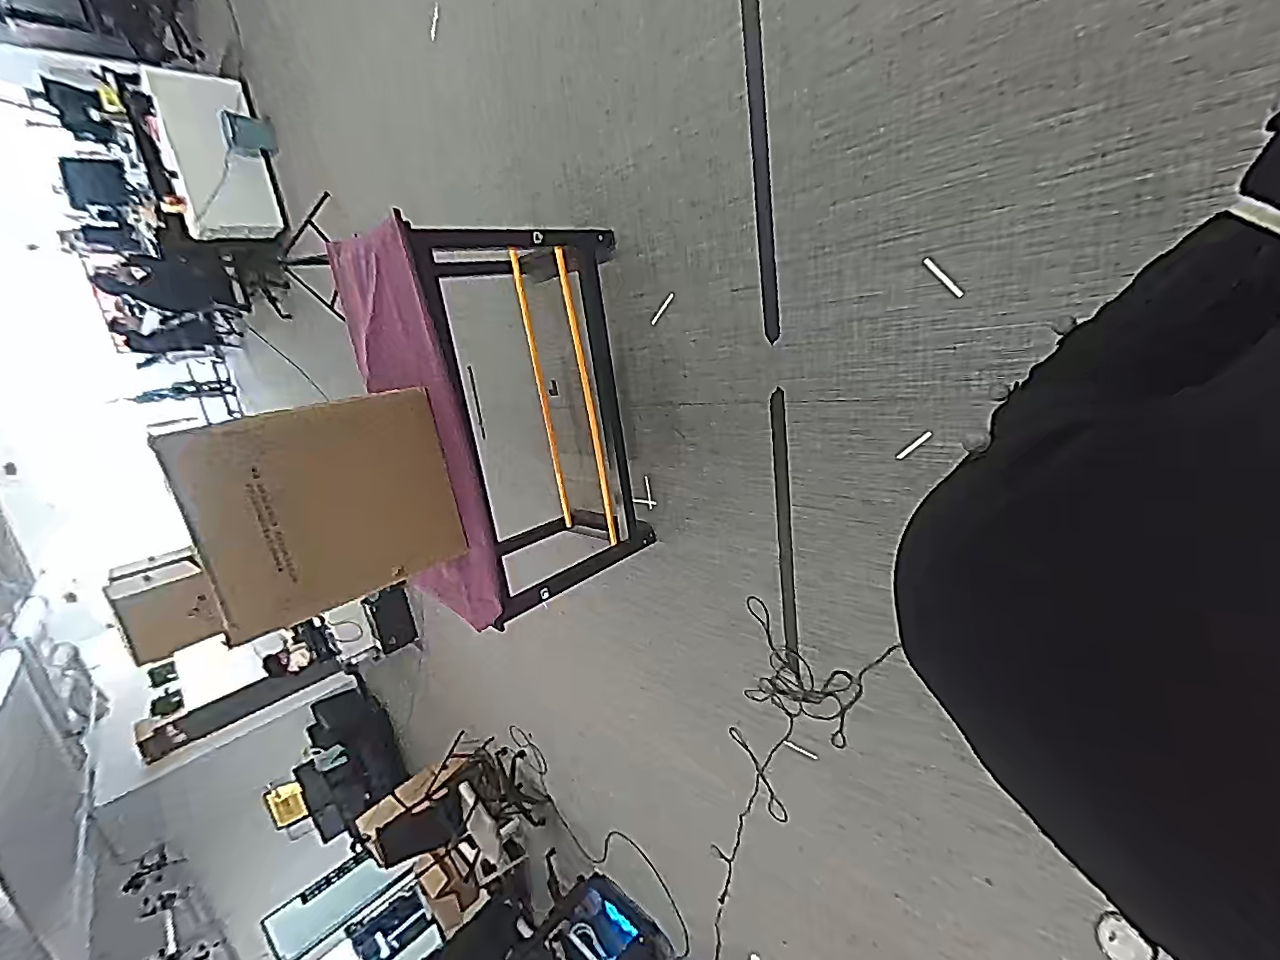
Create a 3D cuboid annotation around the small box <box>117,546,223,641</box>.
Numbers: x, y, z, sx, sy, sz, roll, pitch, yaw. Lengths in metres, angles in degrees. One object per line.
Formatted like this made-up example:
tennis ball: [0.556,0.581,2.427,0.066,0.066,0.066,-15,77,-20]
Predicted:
small box: [-1.232,0.288,1.421,0.168,0.176,0.179,5,109,47]
